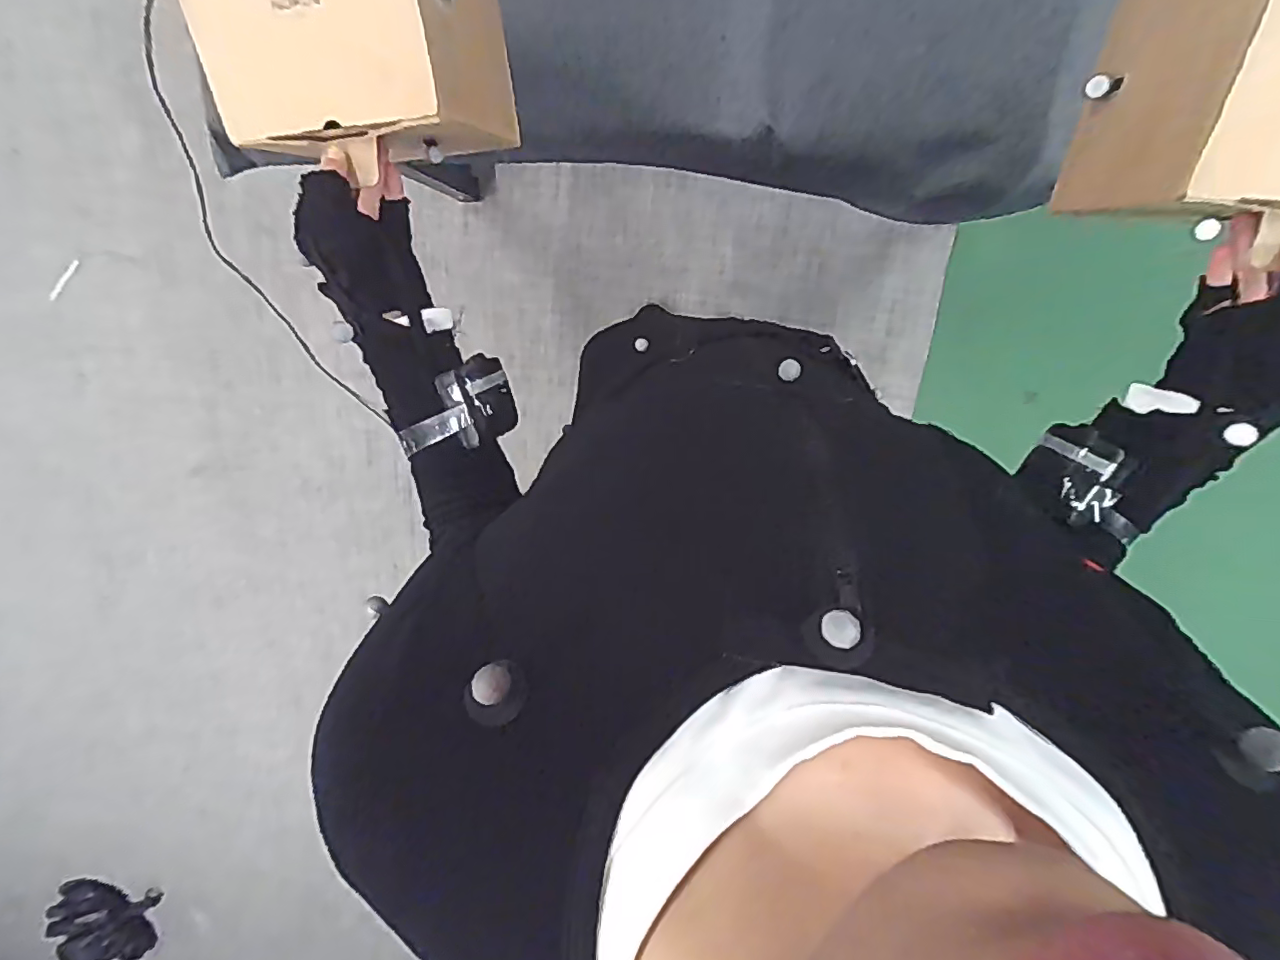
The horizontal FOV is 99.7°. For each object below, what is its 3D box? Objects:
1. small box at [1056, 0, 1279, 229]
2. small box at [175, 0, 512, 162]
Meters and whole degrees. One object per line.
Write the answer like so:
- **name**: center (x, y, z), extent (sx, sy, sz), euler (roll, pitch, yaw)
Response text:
- **small box**: center (0.431, -0.270, 0.366), extent (0.168, 0.176, 0.179), euler (7, 115, 7)
- **small box**: center (-0.210, -0.350, 0.409), extent (0.168, 0.176, 0.179), euler (-2, 115, 8)
